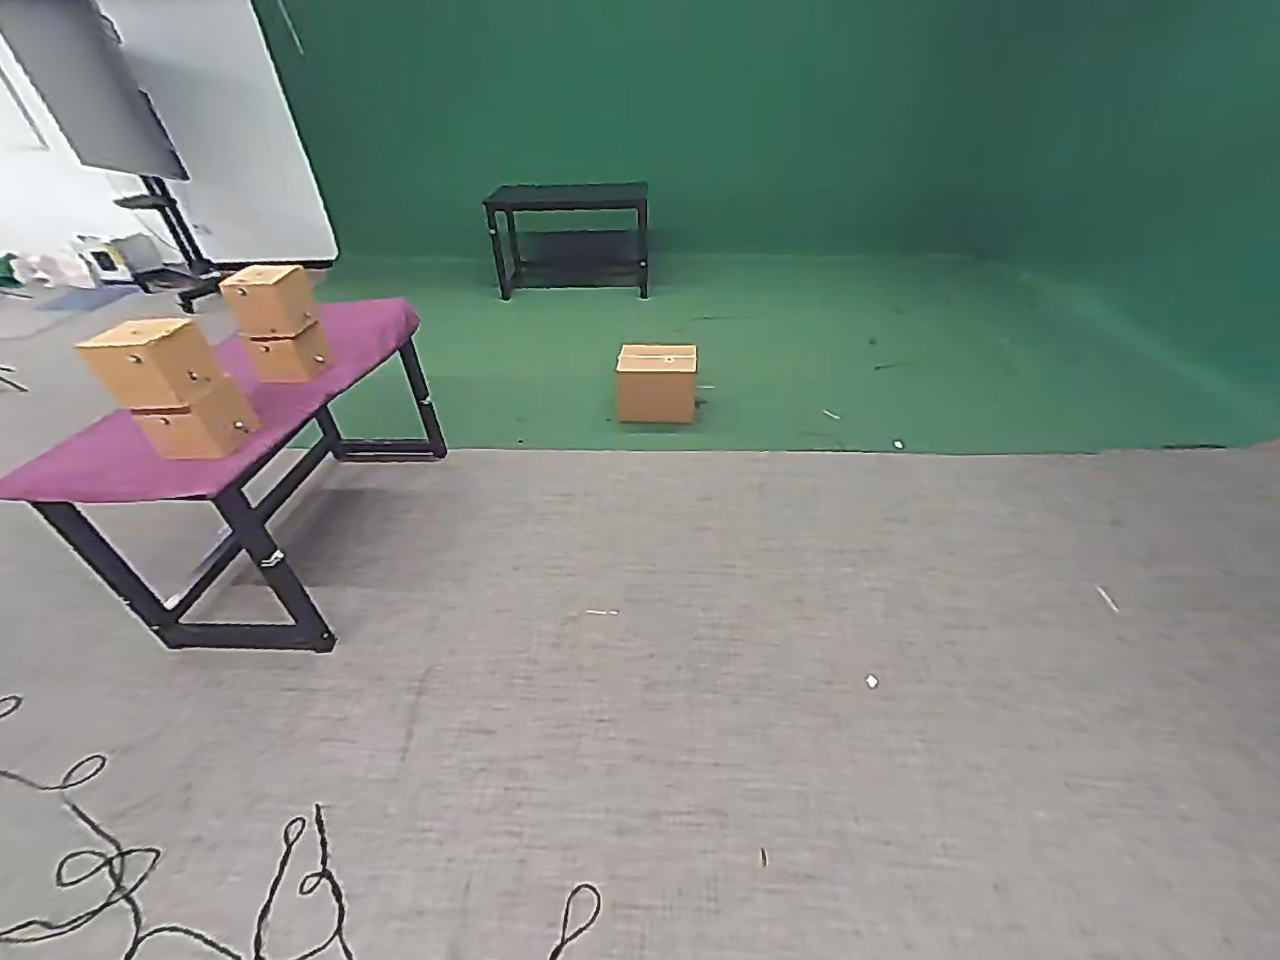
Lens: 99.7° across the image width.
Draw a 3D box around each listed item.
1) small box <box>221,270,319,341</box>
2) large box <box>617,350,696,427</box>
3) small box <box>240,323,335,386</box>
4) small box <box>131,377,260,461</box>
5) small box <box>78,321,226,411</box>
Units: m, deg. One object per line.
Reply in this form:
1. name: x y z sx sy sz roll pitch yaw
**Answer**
1. small box: -1.145 -0.549 1.694 0.168 0.176 0.179 -1 37 2
2. large box: 0.093 -0.491 2.901 0.408 0.320 0.320 2 38 5
3. small box: -1.166 -0.424 1.802 0.179 0.176 0.168 2 38 5
4. small box: -1.184 -0.162 1.455 0.179 0.176 0.168 -1 38 4
5. small box: -1.200 -0.282 1.346 0.179 0.176 0.168 -1 37 4
